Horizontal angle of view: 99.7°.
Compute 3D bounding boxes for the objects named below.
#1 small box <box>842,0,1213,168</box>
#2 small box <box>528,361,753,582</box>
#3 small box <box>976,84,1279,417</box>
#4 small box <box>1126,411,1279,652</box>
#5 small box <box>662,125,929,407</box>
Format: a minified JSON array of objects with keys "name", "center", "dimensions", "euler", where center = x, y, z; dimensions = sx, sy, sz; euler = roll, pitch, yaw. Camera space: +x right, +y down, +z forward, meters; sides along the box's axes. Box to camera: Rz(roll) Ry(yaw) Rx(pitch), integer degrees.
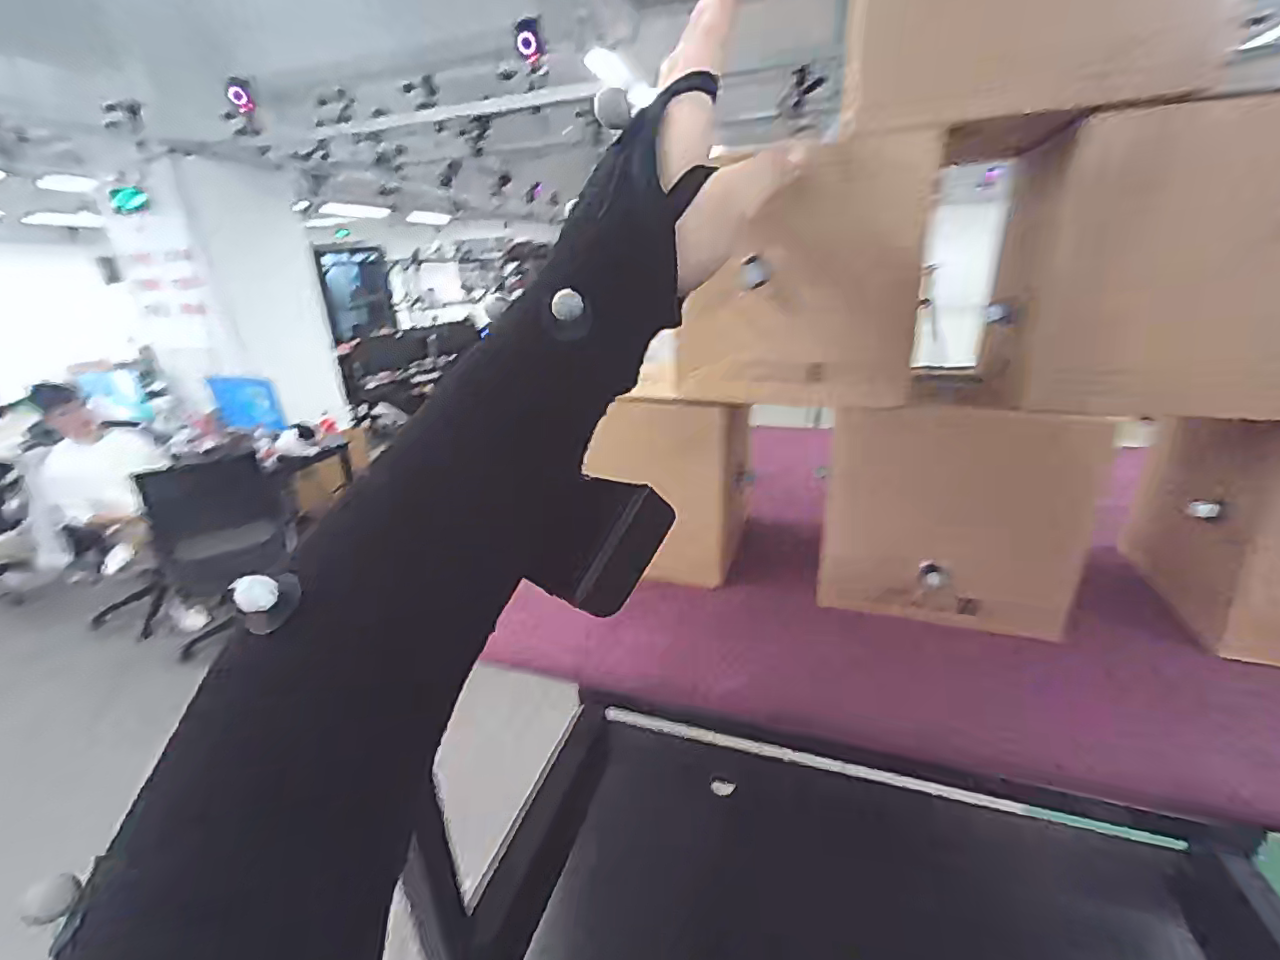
[{"name":"small box","center":[0.224,-0.304,0.341],"dimensions":[0.179,0.176,0.168],"euler":[4,22,19]},{"name":"small box","center":[0.013,-0.017,0.538],"dimensions":[0.179,0.176,0.168],"euler":[6,23,19]},{"name":"small box","center":[0.349,-0.141,0.358],"dimensions":[0.179,0.176,0.168],"euler":[5,22,20]},{"name":"small box","center":[0.489,0.022,0.376],"dimensions":[0.168,0.176,0.179],"euler":[7,22,22]},{"name":"small box","center":[0.126,-0.158,0.435],"dimensions":[0.168,0.176,0.179],"euler":[5,22,21]}]
